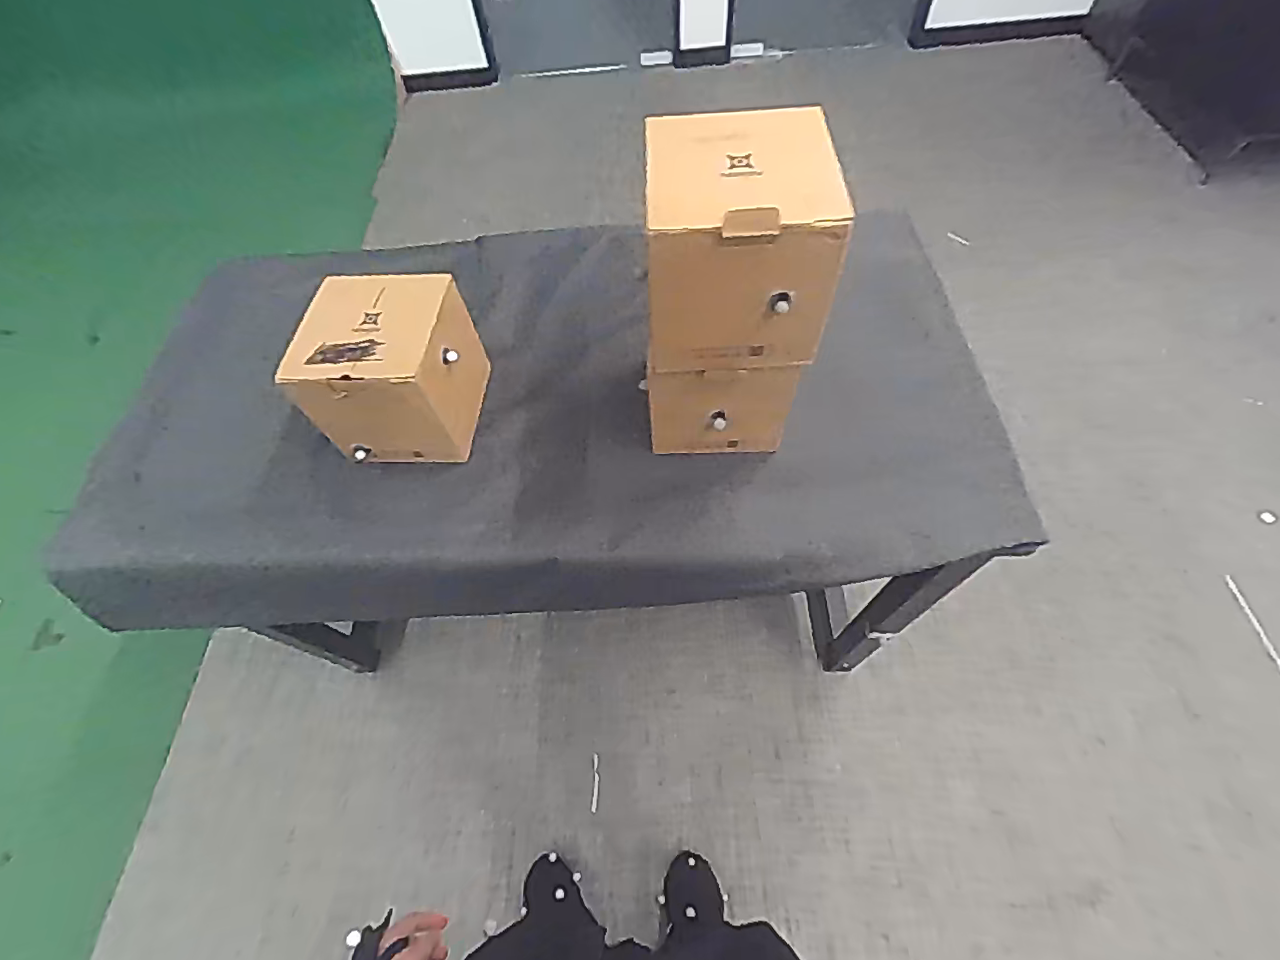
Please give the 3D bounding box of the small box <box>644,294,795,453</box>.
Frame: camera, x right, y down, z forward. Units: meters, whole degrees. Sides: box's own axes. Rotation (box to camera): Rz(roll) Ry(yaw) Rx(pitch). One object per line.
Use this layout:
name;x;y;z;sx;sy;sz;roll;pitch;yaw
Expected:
small box;0.094;-0.145;0.688;0.168;0.176;0.179;-1;59;3

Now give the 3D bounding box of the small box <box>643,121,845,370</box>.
small box;0.090;-0.225;0.546;0.168;0.176;0.179;-1;58;2

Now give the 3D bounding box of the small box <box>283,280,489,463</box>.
small box;-0.312;-0.136;0.711;0.168;0.176;0.179;1;58;4
